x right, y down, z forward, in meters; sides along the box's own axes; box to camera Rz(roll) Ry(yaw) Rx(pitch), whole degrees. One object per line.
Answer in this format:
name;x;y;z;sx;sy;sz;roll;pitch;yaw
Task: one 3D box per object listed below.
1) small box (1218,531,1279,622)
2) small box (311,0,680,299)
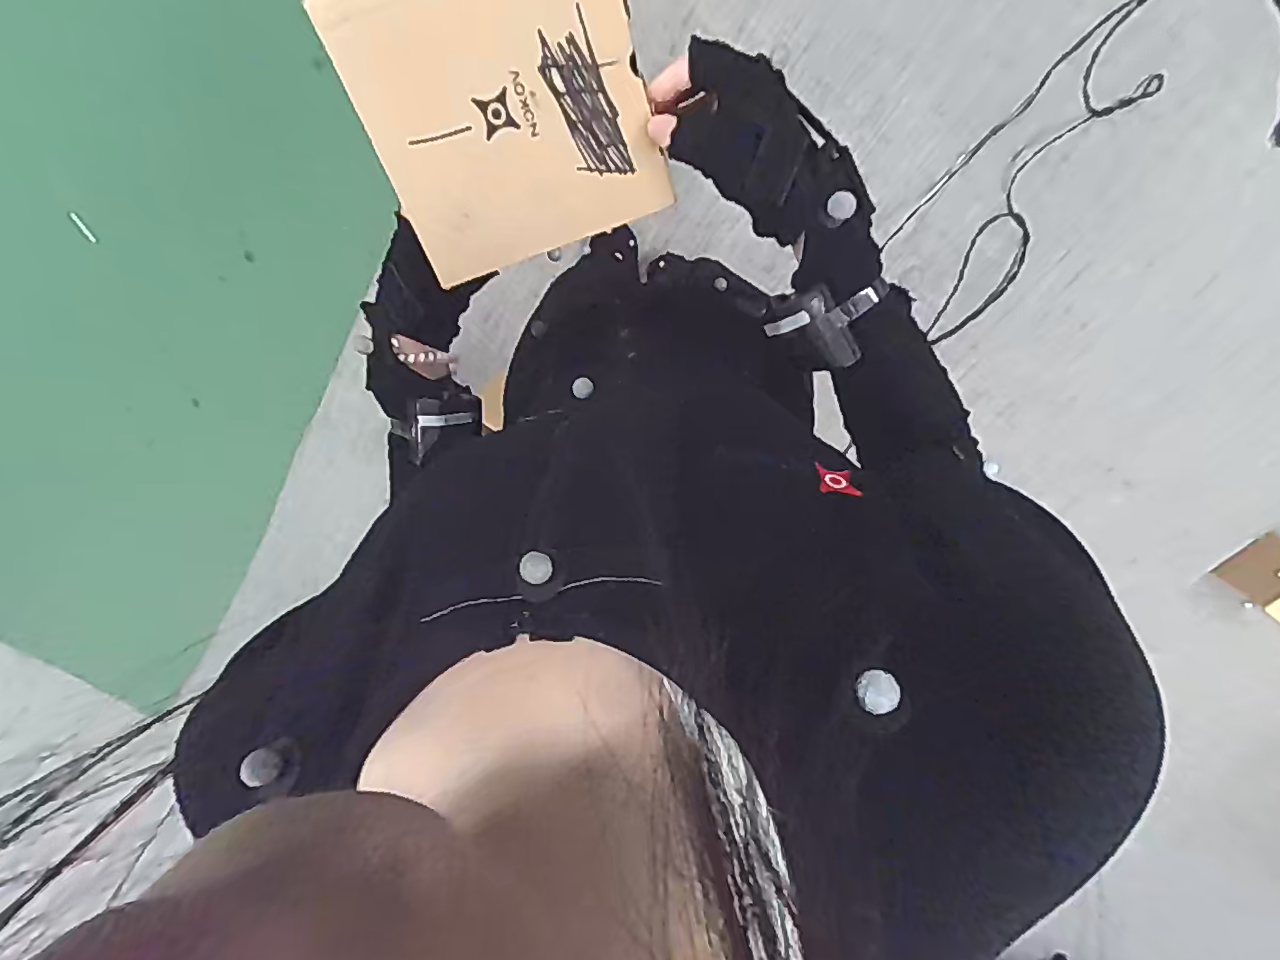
small box;1.726;0.272;1.444;0.168;0.176;0.179;33;113;-9
small box;-0.087;-0.256;0.398;0.179;0.176;0.168;-19;120;2
